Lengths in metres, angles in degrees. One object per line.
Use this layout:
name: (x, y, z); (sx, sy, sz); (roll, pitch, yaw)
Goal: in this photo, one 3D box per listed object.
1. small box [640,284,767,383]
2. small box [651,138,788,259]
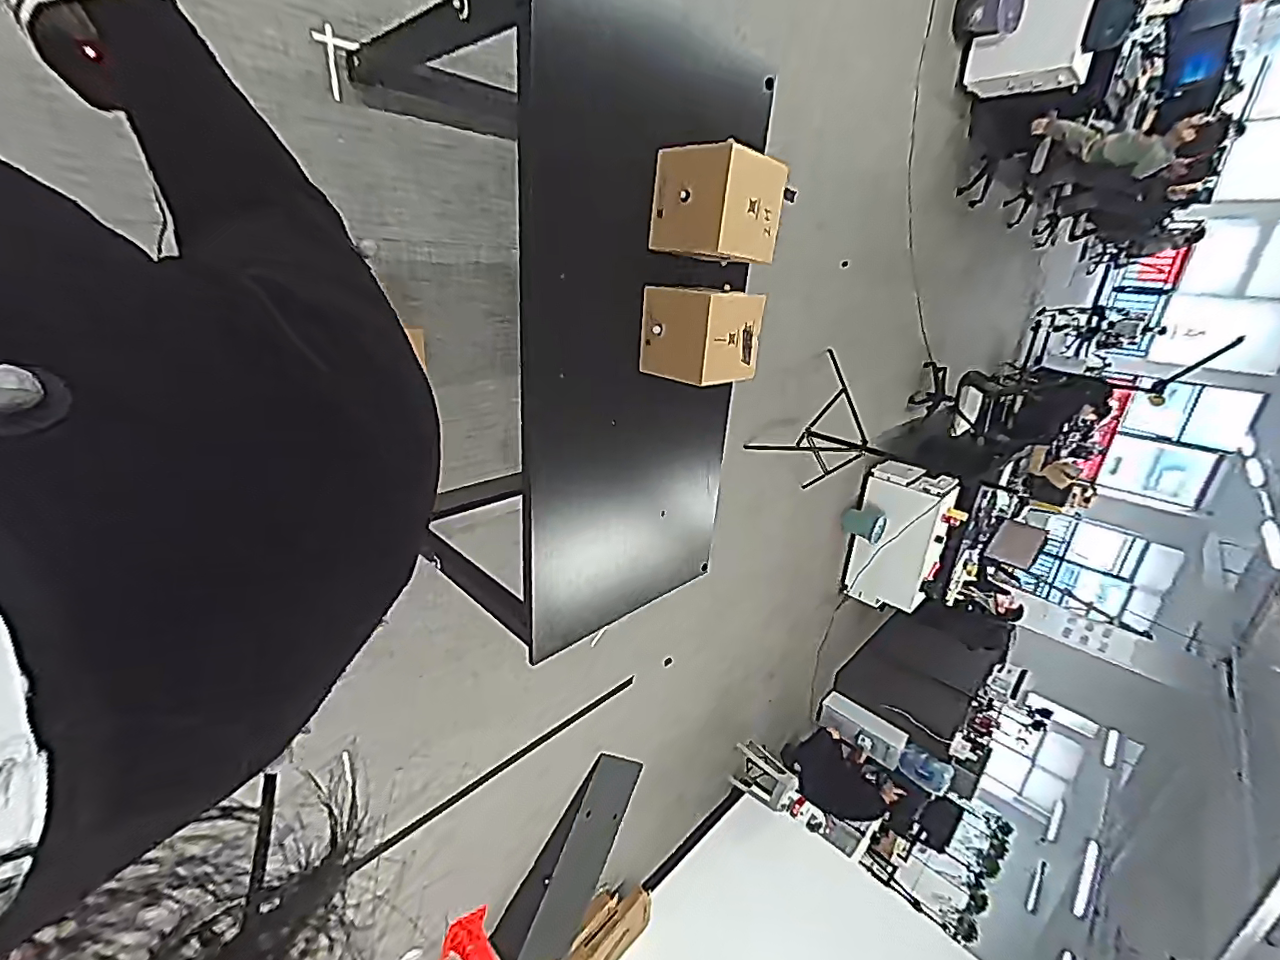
small box: (0.123, -0.296, 1.073); (0.179, 0.176, 0.168); (-17, 120, -42)
small box: (0.141, -0.506, 0.993); (0.179, 0.176, 0.168); (-14, 119, -44)
